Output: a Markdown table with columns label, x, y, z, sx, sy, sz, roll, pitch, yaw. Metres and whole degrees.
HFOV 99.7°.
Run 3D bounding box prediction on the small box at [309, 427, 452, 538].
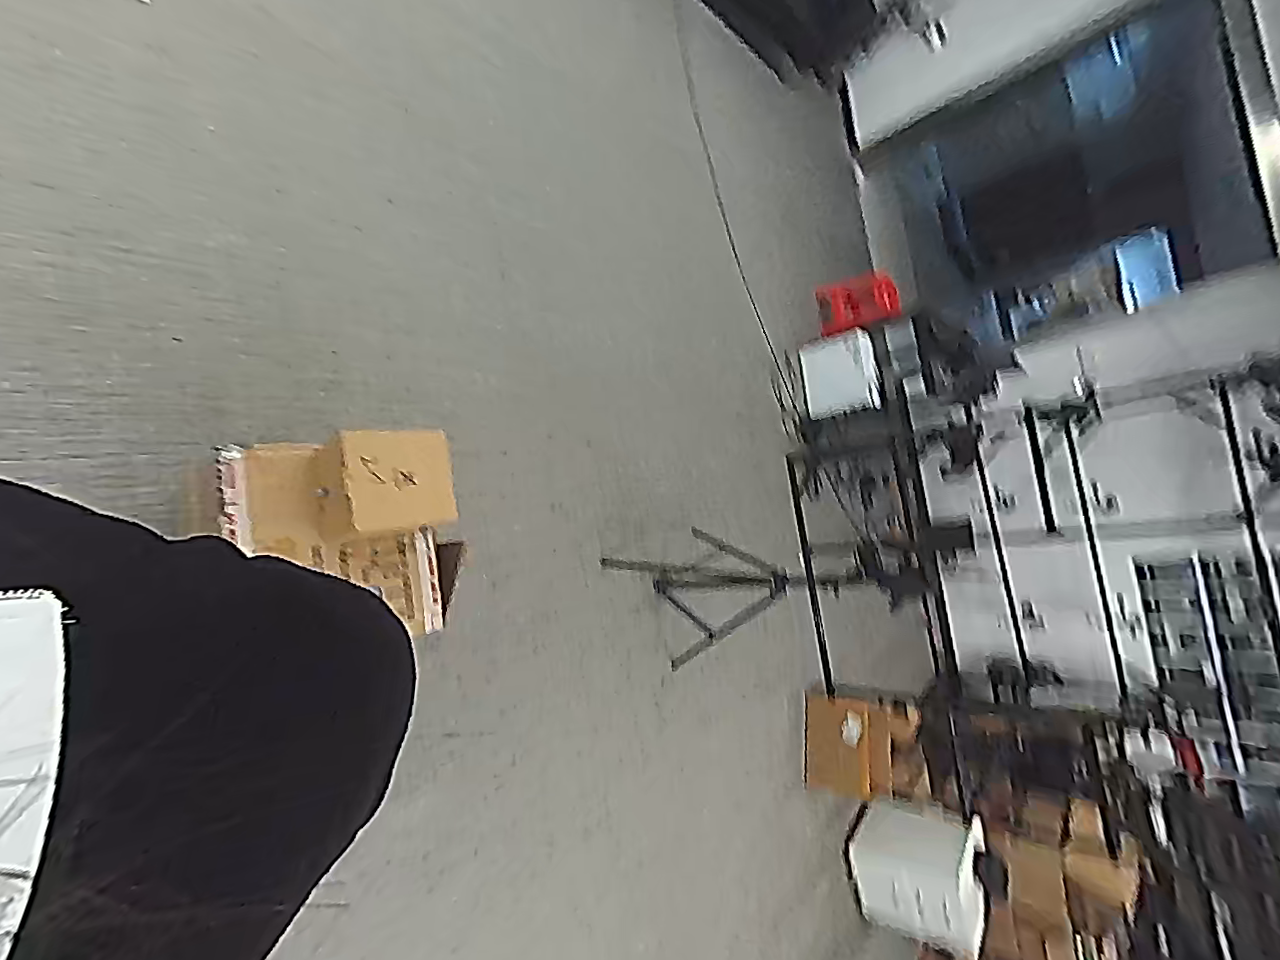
| label | x | y | z | sx | sy | sz | roll | pitch | yaw |
| --- | --- | --- | --- | --- | --- | --- | --- | --- | --- |
| small box | -0.462 | 0.006 | 0.963 | 0.179 | 0.176 | 0.168 | -4 | 83 | -46 |
